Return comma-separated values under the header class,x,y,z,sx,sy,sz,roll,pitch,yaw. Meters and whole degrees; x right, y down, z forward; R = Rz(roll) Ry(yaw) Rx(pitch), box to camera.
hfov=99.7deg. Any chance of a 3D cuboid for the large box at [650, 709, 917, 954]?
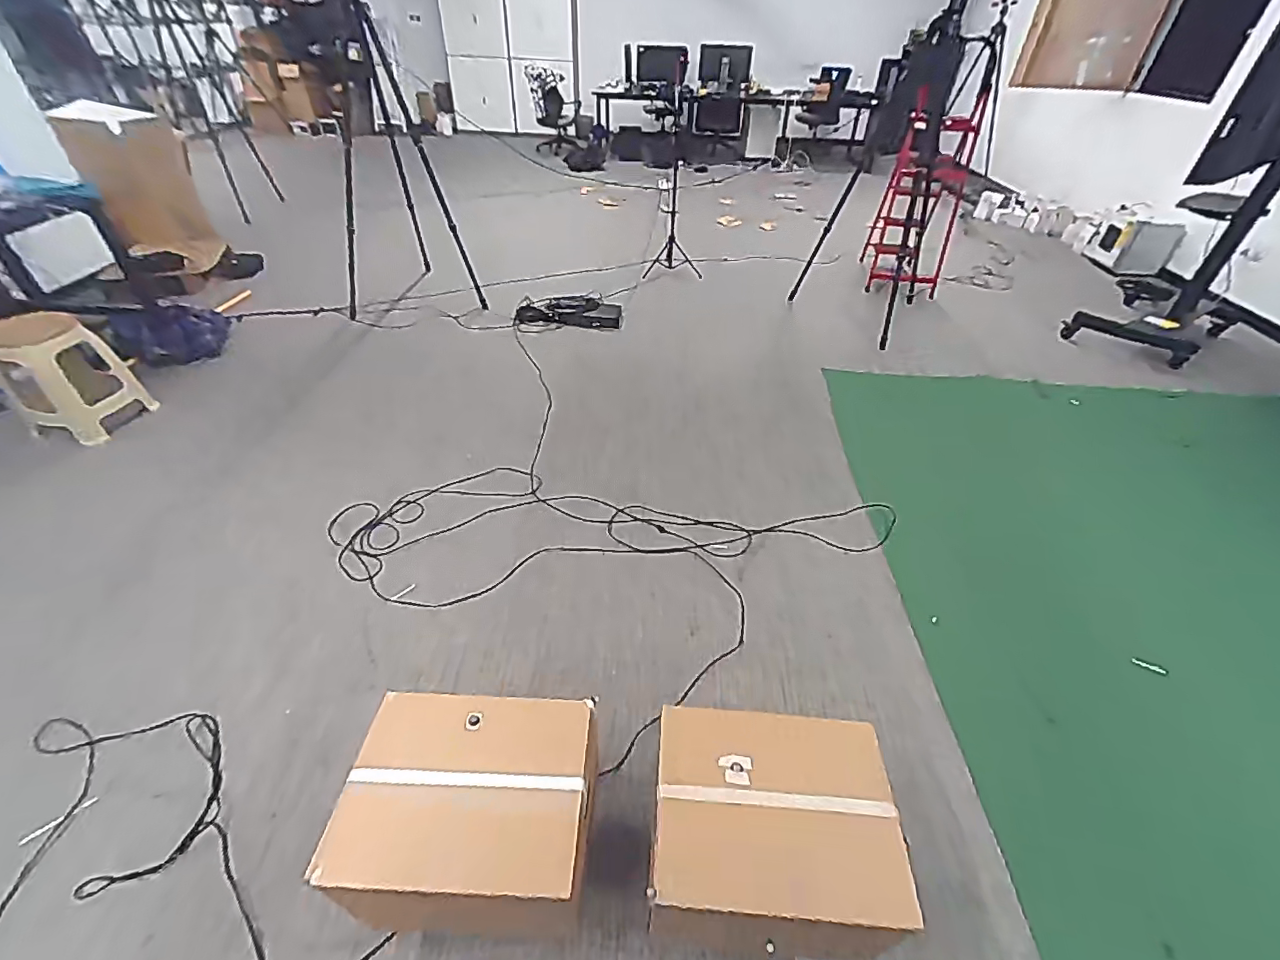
class,x,y,z,sx,sy,sz,roll,pitch,yaw
large box,0.231,0.667,1.029,0.408,0.320,0.320,4,41,3
